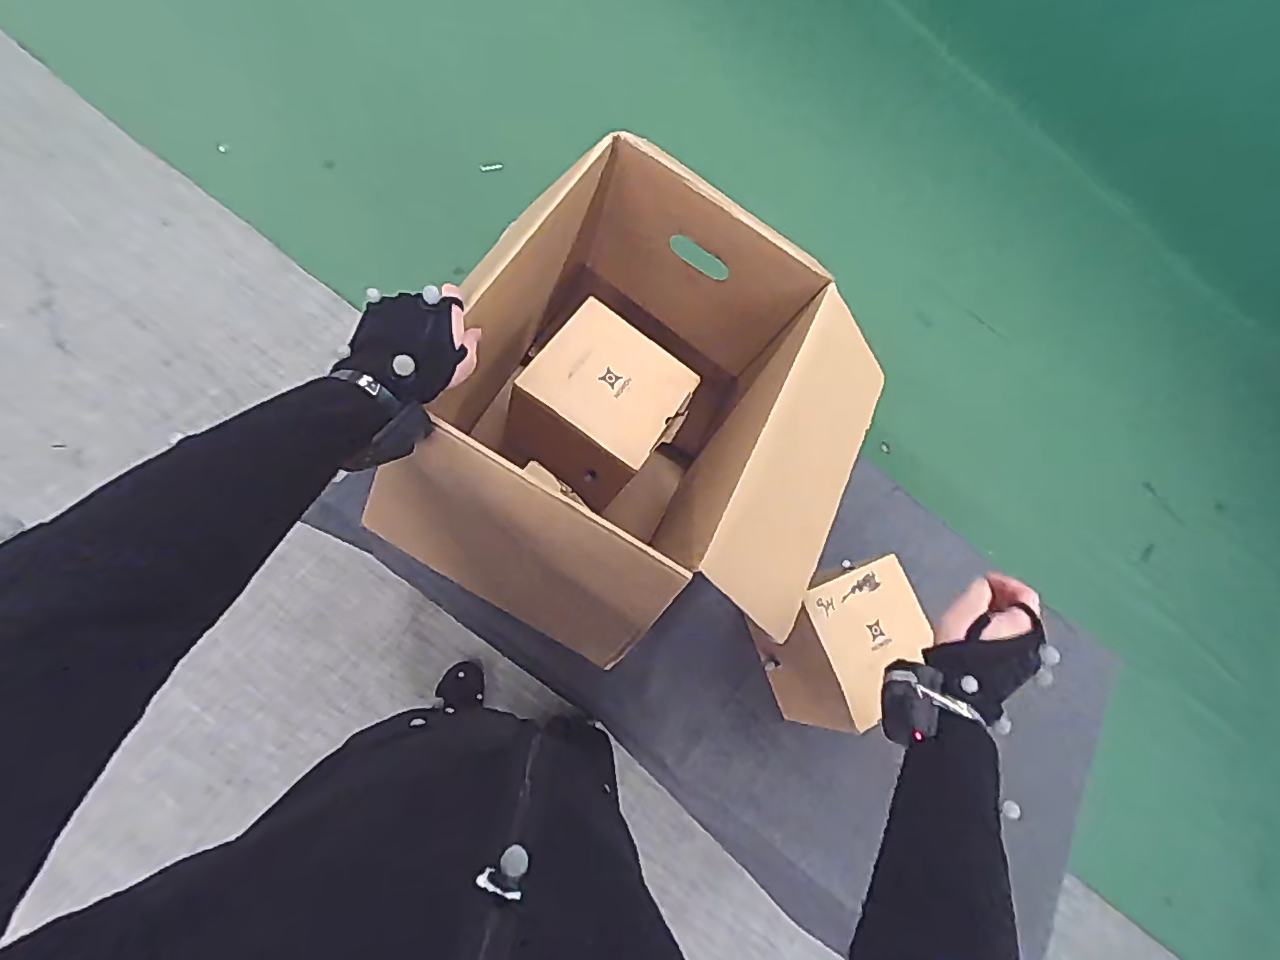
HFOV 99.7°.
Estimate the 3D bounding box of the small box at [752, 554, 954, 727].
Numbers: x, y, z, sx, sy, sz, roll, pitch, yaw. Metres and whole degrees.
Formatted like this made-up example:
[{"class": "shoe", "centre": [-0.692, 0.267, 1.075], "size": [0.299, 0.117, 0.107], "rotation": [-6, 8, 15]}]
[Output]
[{"class": "small box", "centre": [0.286, 0.218, 0.762], "size": [0.168, 0.176, 0.179], "rotation": [-15, 79, -19]}]
